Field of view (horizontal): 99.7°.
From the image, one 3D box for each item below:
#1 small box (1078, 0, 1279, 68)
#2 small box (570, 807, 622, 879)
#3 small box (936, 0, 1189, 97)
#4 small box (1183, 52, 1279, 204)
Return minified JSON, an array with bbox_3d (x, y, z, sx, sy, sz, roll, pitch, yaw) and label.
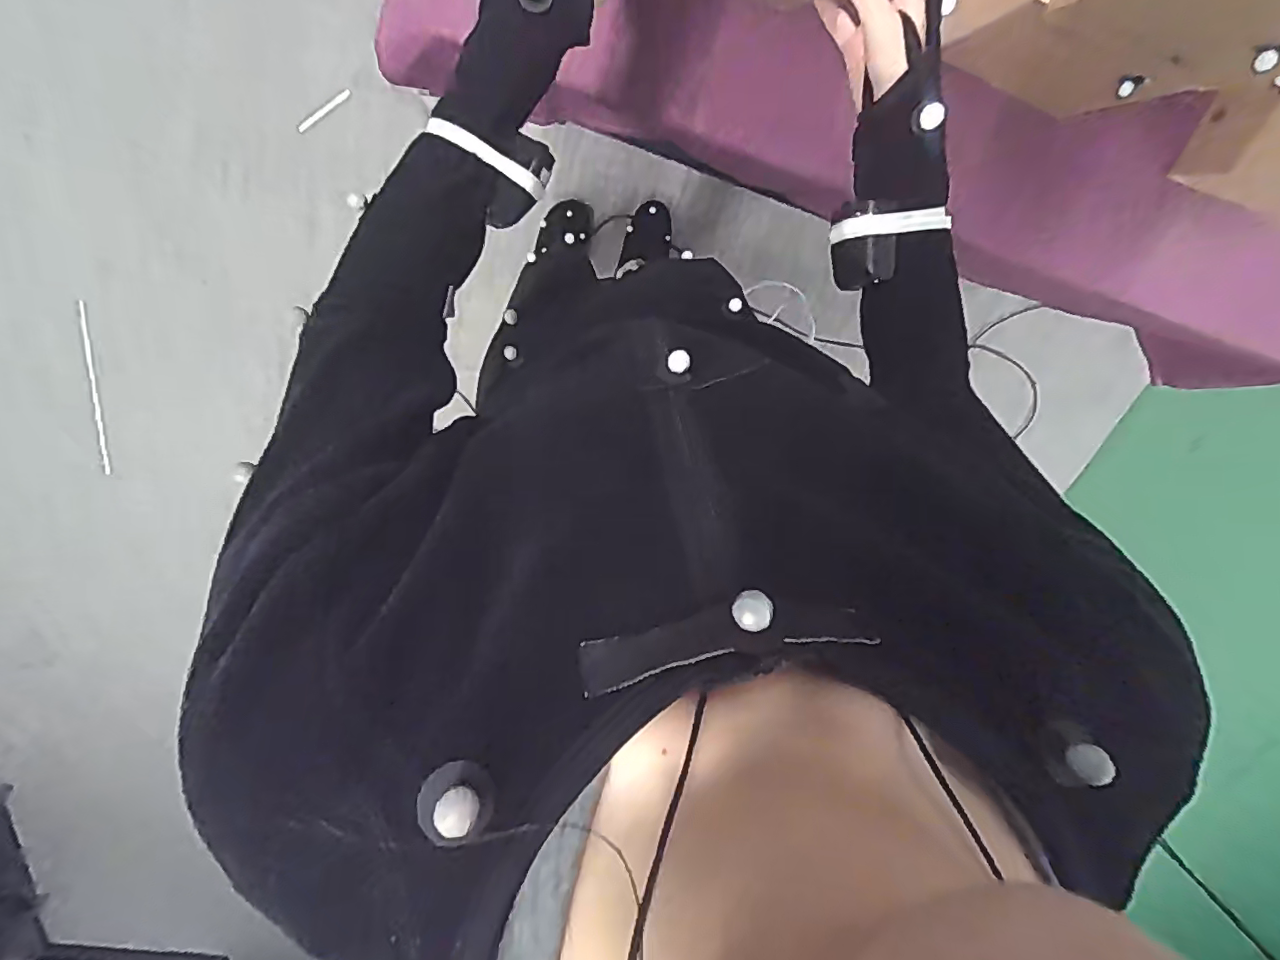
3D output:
[{"bbox_3d":[0.418,-0.390,0.327,0.168,0.176,0.179,14,114,-10],"label":"small box"},{"bbox_3d":[-0.175,1.468,2.187,0.168,0.176,0.179,16,114,-11],"label":"small box"},{"bbox_3d":[0.405,-0.466,0.471,0.179,0.176,0.168,15,115,-10],"label":"small box"},{"bbox_3d":[0.715,-0.376,0.525,0.179,0.176,0.168,13,116,-8],"label":"small box"}]
